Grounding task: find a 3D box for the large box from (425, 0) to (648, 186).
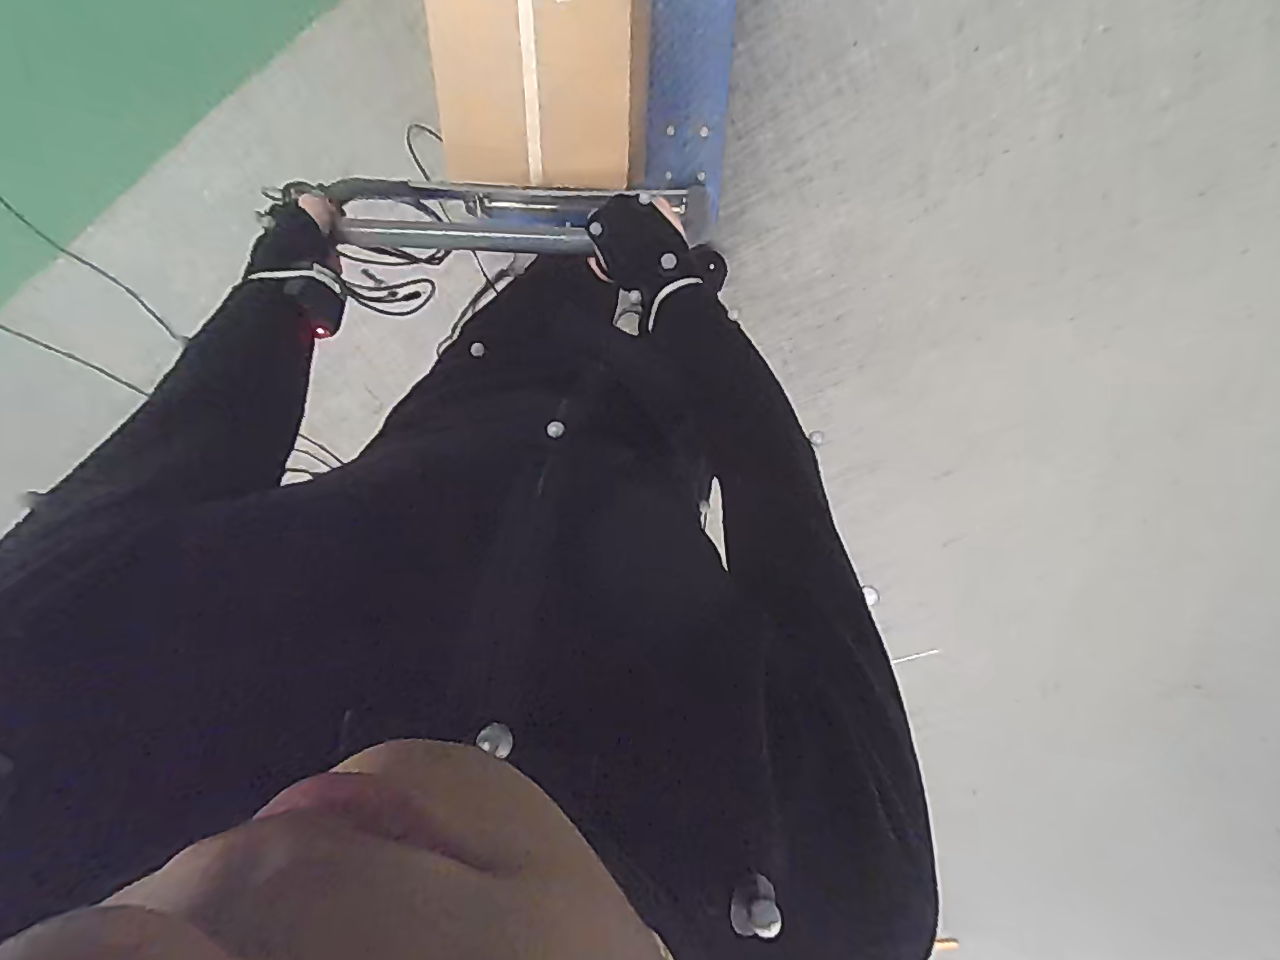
[{"bbox_3d":[-0.155,-0.747,0.941,0.320,0.320,0.408,4,121,3],"label":"large box"}]
